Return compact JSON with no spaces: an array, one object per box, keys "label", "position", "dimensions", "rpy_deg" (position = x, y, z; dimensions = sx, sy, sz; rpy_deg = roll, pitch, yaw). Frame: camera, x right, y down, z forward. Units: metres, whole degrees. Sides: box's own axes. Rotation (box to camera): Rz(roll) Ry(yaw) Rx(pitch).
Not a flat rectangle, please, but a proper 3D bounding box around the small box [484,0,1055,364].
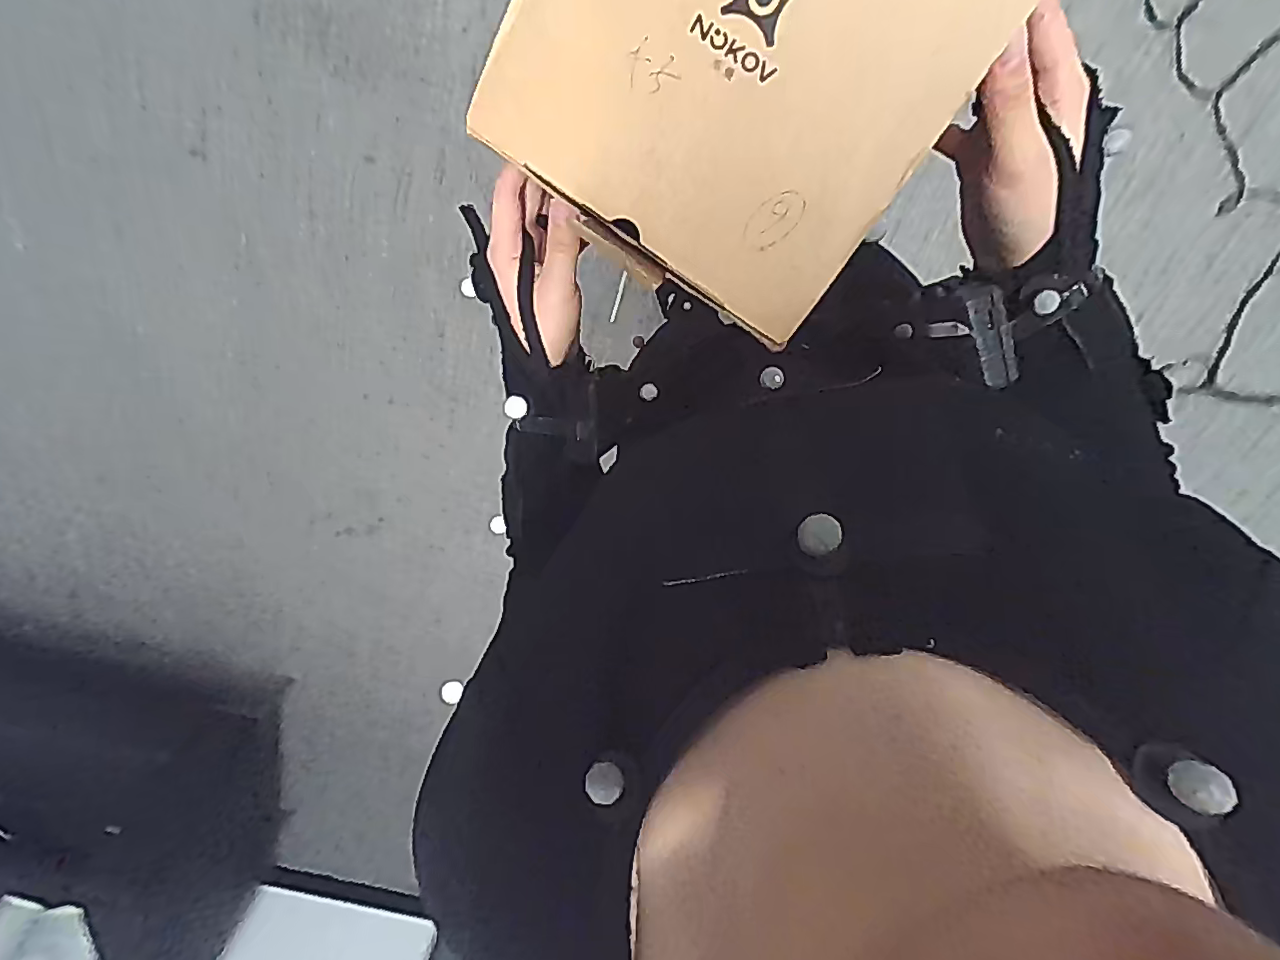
[{"label":"small box","position":[0.057,-0.186,0.287],"dimensions":[0.168,0.176,0.179],"rpy_deg":[35,110,-1]}]
